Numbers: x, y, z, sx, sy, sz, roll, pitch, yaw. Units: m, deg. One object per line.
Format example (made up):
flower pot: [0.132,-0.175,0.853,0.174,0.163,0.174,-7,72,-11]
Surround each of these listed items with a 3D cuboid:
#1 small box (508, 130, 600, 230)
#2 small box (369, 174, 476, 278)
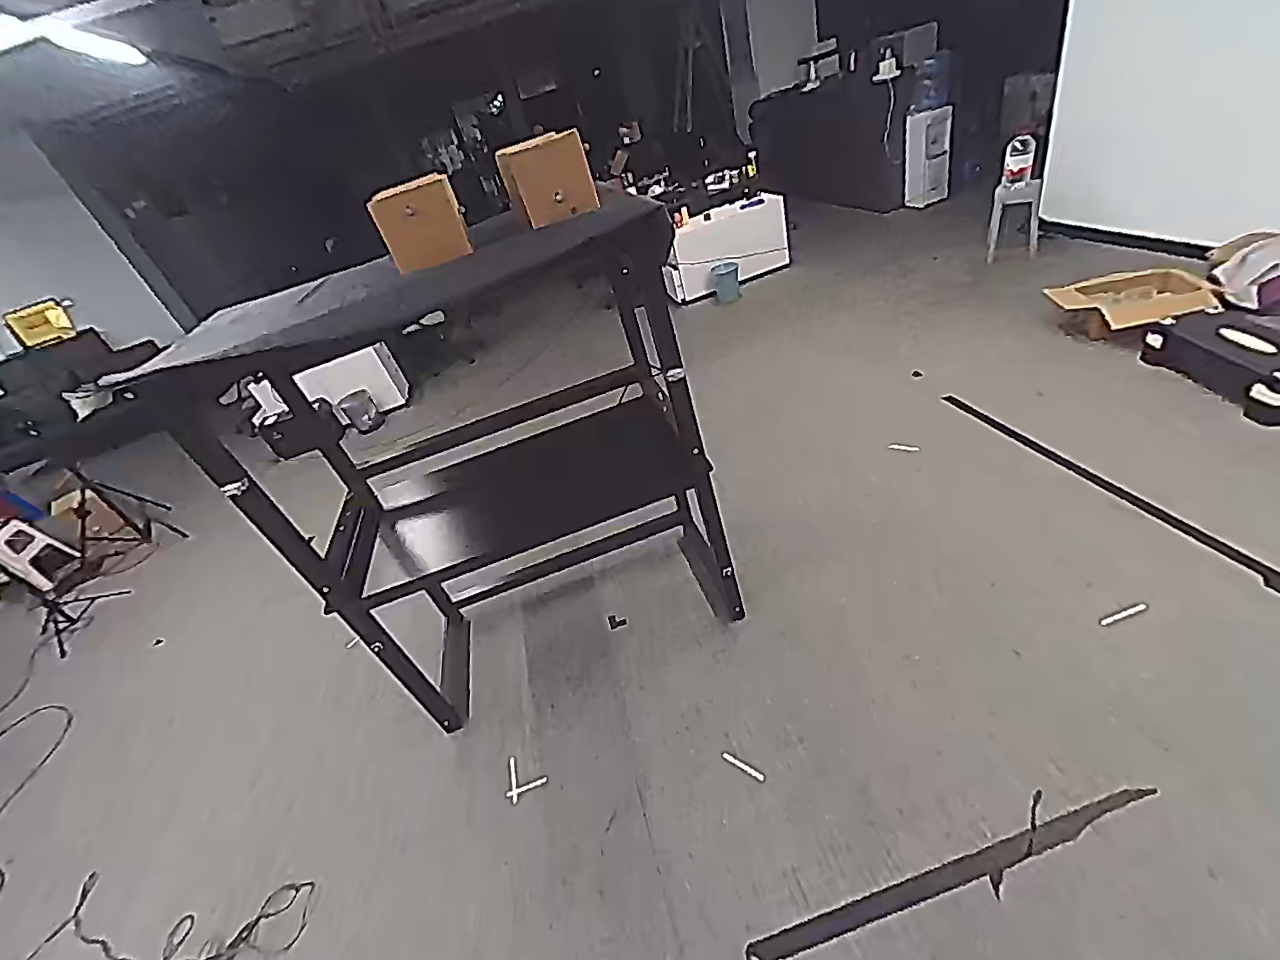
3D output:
small box: [-0.199,-0.715,1.292,0.168,0.176,0.179,-17,35,4]
small box: [-0.505,-0.605,1.286,0.179,0.176,0.168,-21,35,-3]
